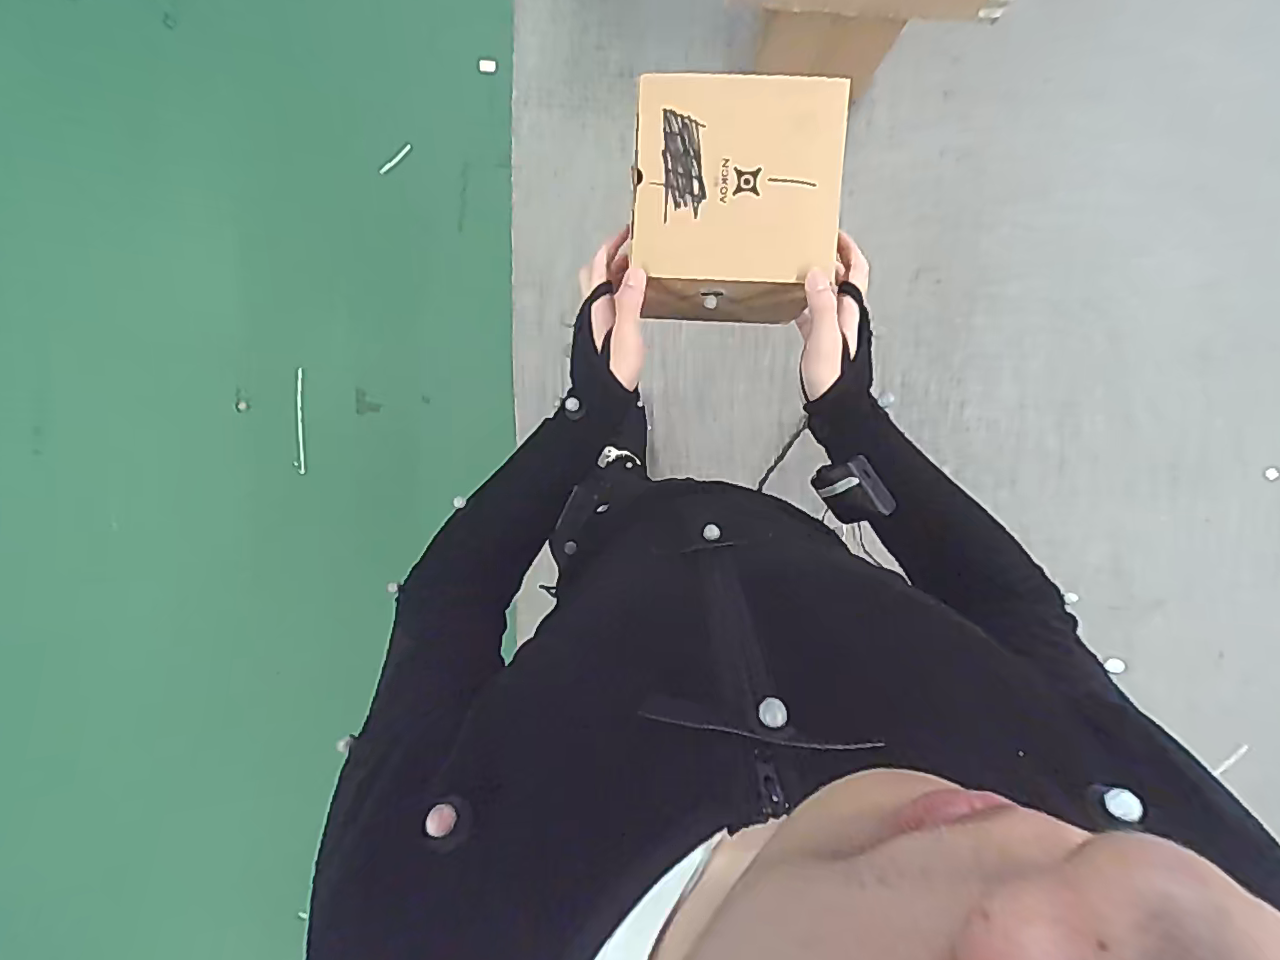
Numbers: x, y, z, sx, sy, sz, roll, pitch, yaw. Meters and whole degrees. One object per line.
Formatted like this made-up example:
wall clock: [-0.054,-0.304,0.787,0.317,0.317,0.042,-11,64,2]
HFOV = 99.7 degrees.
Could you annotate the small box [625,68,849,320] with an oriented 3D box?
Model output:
small box: [0.082,-0.259,0.529,0.179,0.176,0.168,4,95,1]
